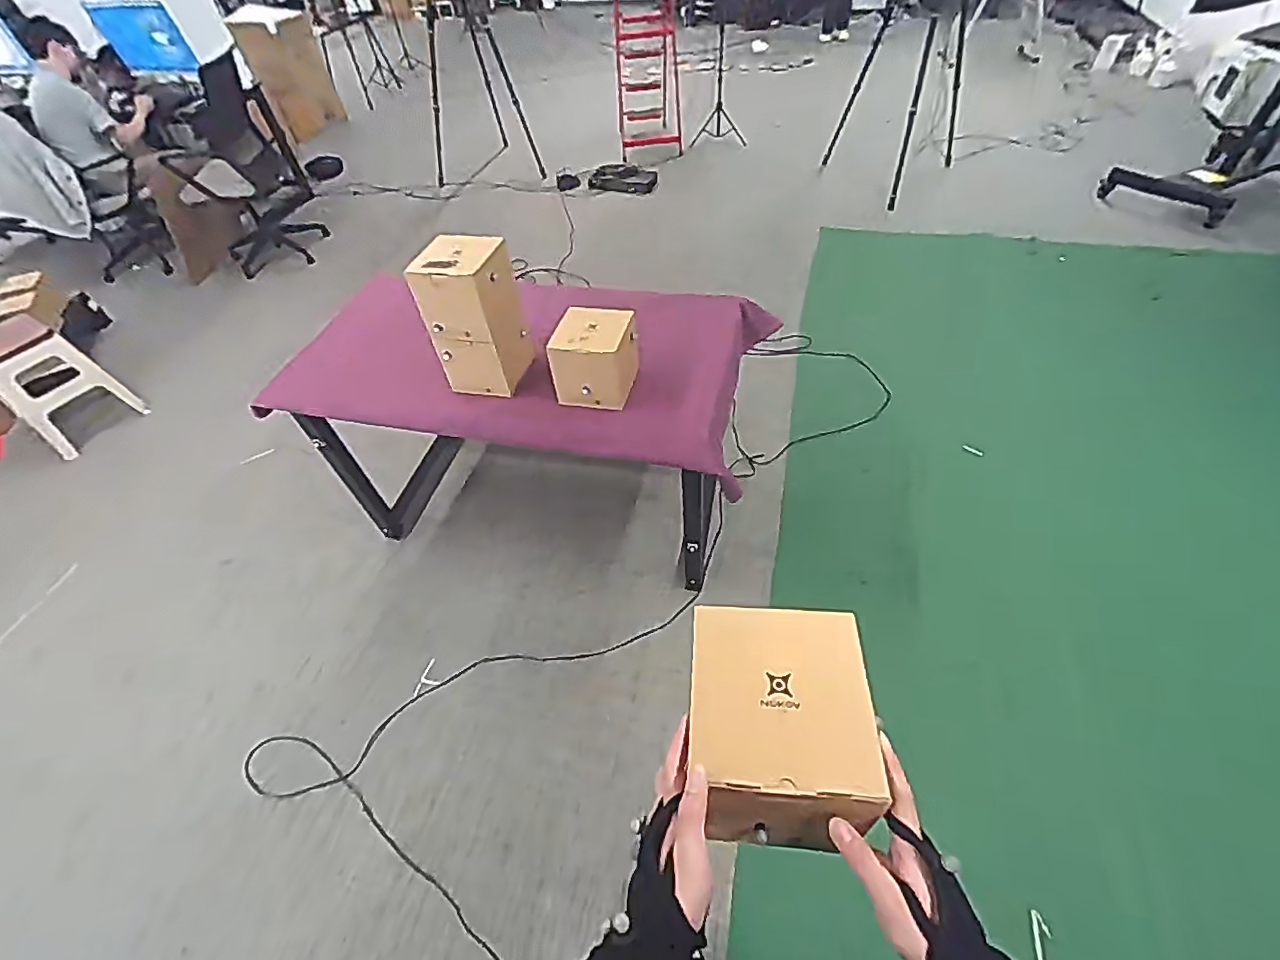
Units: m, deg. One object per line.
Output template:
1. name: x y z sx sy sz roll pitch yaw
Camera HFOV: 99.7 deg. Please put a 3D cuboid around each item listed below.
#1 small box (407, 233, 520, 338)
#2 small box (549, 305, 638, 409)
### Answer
1. small box: -0.394 -0.447 1.247 0.168 0.176 0.179 8 50 12
2. small box: -0.104 -0.299 1.311 0.168 0.176 0.179 8 50 12
